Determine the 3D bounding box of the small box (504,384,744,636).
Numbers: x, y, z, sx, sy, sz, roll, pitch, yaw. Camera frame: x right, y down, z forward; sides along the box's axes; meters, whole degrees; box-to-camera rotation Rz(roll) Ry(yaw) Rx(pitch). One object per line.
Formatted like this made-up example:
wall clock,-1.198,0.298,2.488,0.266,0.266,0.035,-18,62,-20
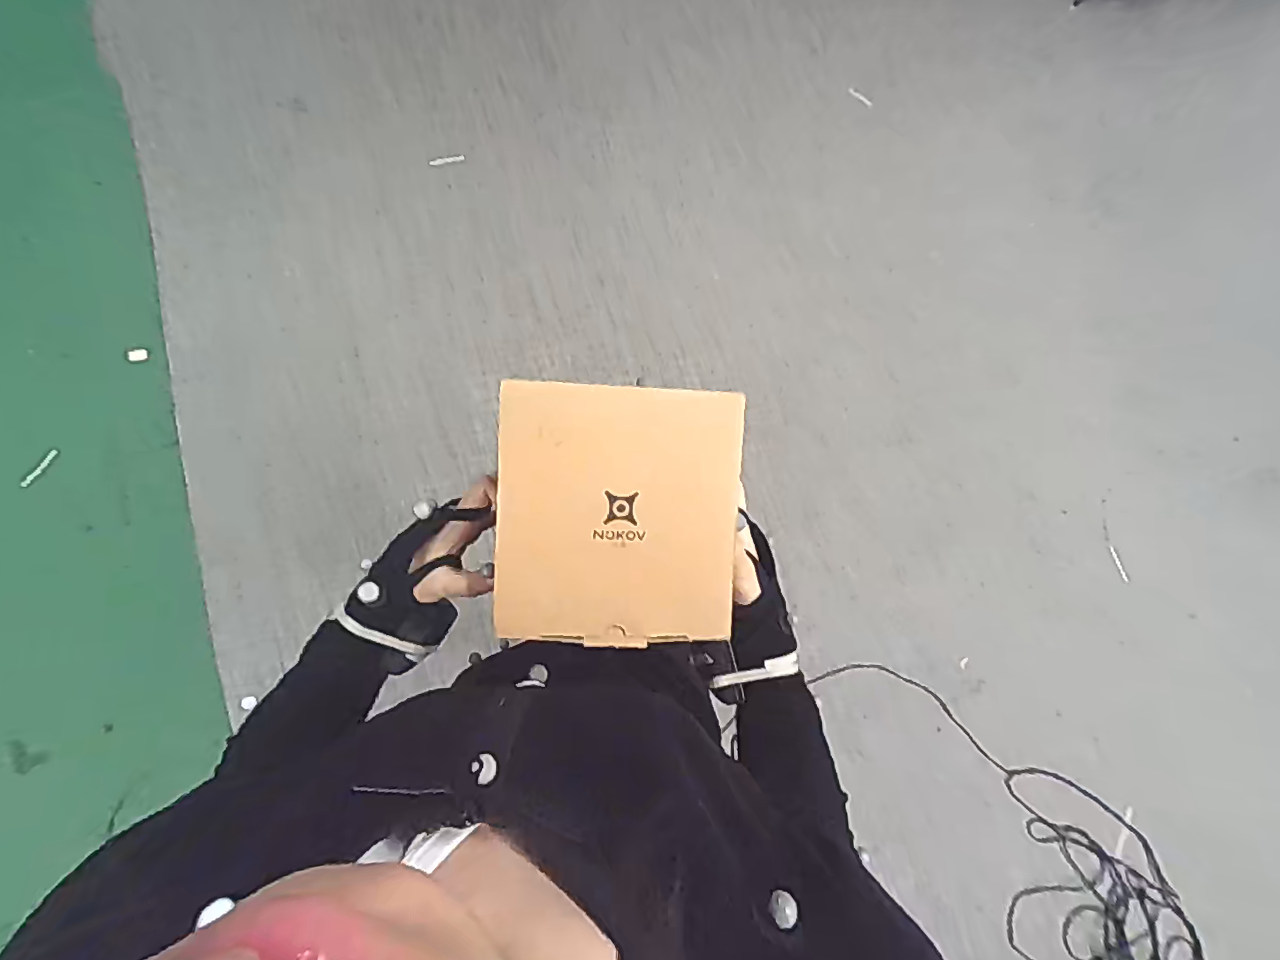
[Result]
small box,-0.021,0.017,0.457,0.168,0.176,0.179,2,97,-7
